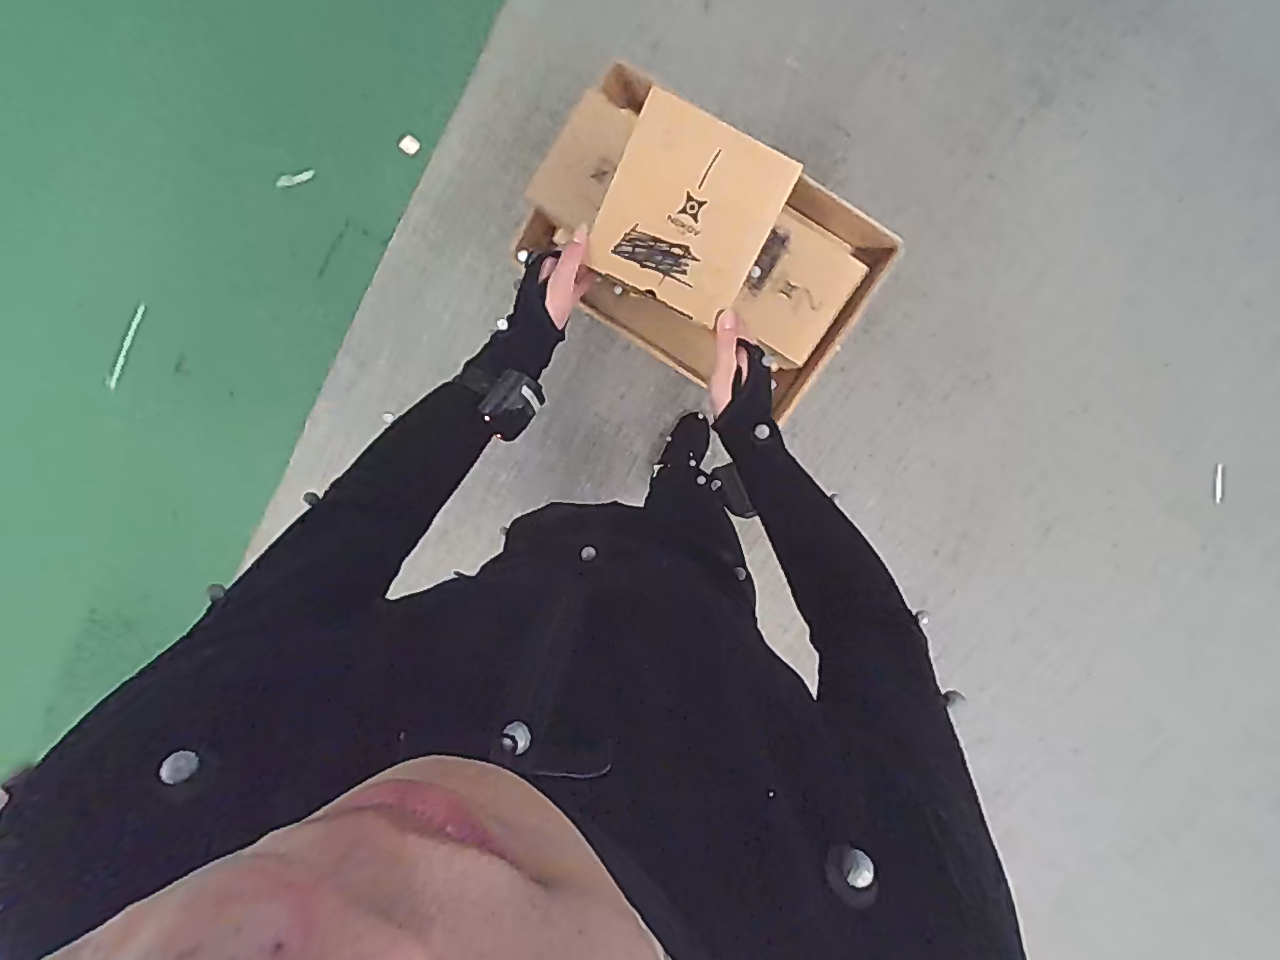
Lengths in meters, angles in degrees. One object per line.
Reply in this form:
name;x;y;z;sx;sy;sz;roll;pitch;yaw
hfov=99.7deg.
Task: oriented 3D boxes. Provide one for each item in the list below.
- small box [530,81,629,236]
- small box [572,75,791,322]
small box;-0.043;-0.469;0.866;0.168;0.176;0.179;37;102;1
small box;0.044;-0.294;0.610;0.168;0.176;0.179;25;107;-4
